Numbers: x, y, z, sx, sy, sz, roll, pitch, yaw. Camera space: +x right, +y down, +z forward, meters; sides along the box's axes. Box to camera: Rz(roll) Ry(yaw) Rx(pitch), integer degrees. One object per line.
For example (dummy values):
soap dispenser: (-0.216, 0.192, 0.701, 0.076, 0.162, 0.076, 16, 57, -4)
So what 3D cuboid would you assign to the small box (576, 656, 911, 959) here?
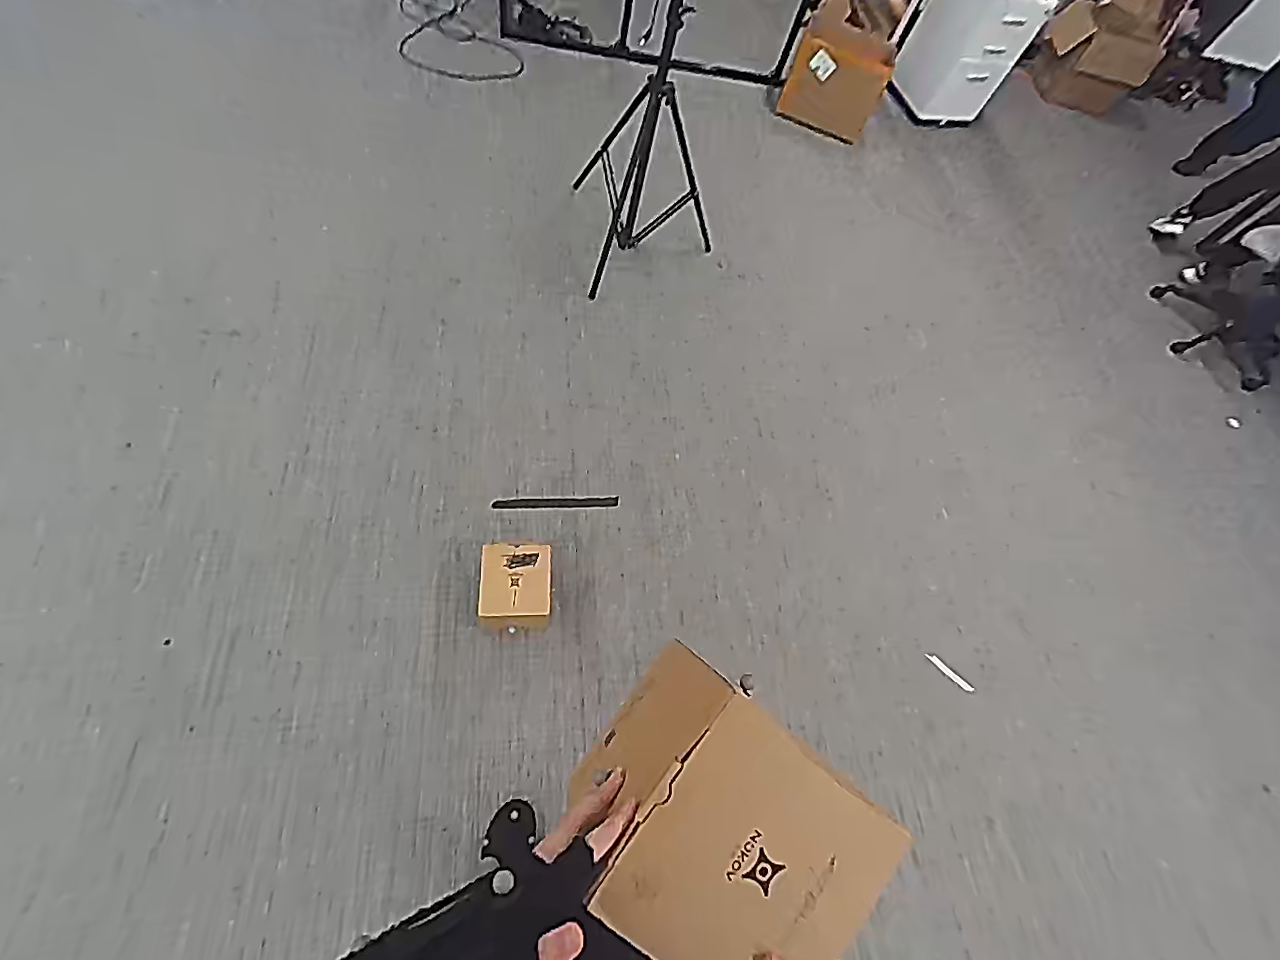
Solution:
small box: (0.064, 0.266, 0.441, 0.179, 0.176, 0.168, 39, 80, -7)

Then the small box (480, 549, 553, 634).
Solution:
small box: (-0.309, 0.285, 1.364, 0.168, 0.176, 0.179, 2, 64, -11)
